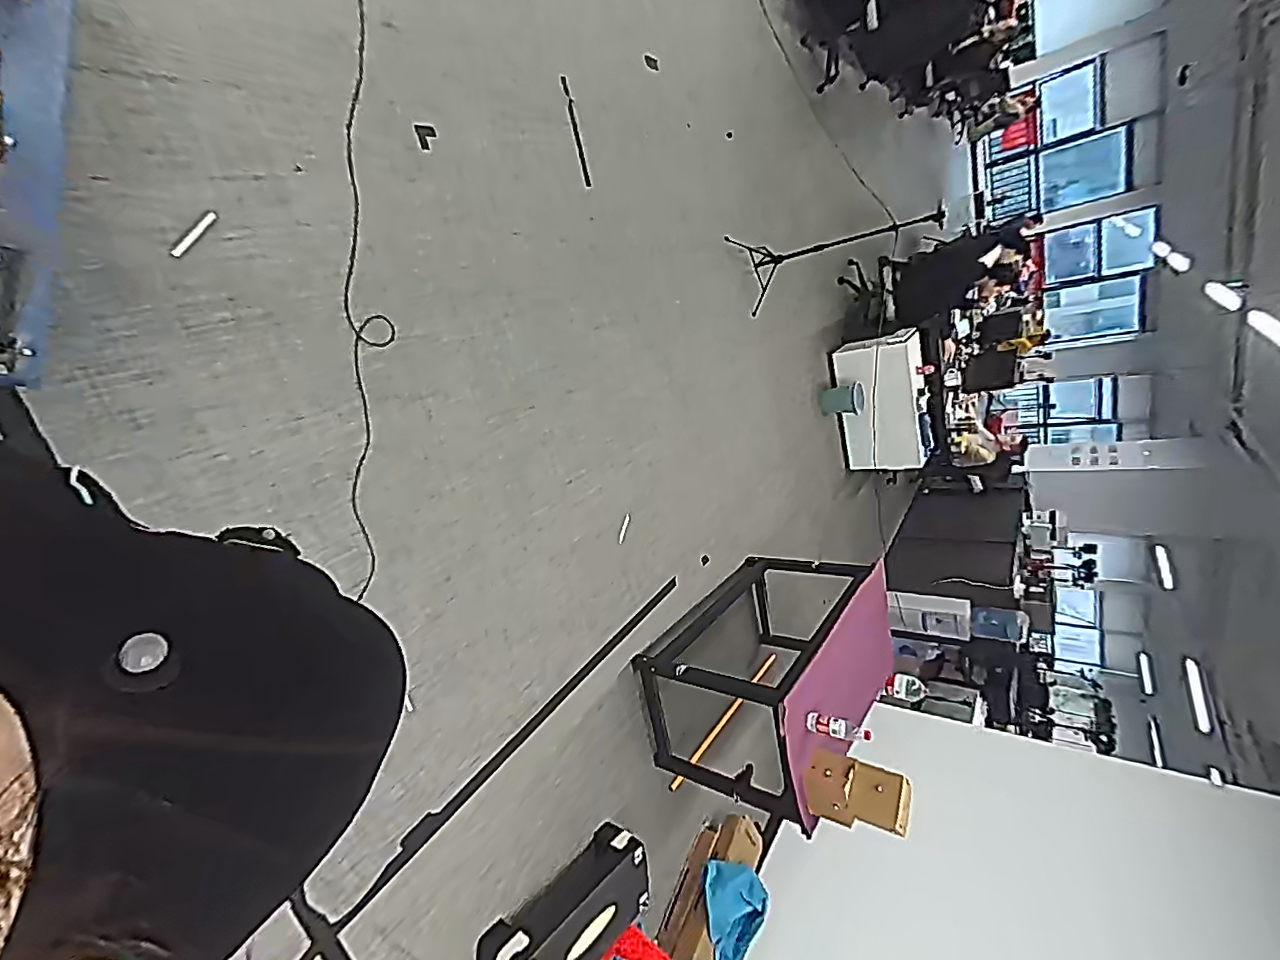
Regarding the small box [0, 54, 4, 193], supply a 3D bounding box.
[{"bbox_3d":[-1.036,-0.533,0.763,0.179,0.176,0.168,-1,91,-50],"label":"small box"}]
